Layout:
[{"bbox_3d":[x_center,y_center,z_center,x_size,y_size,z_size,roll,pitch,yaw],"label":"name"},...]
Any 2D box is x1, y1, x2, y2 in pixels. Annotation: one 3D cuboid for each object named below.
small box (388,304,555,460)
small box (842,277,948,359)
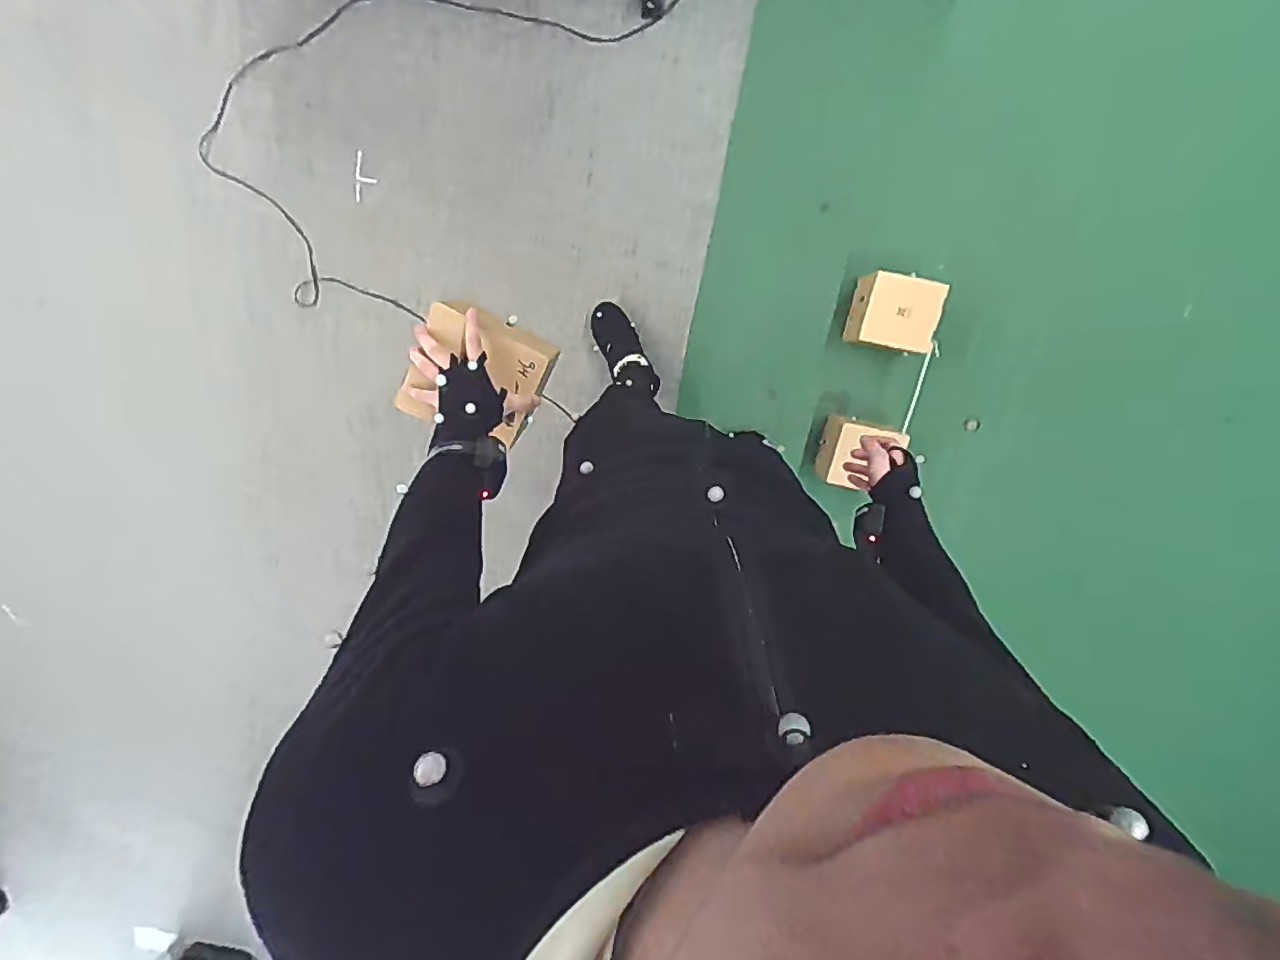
[{"bbox_3d":[-0.250,-0.156,0.841,0.179,0.176,0.168,26,106,-9],"label":"small box"},{"bbox_3d":[0.644,-0.411,1.391,0.179,0.176,0.168,13,105,2],"label":"small box"}]
